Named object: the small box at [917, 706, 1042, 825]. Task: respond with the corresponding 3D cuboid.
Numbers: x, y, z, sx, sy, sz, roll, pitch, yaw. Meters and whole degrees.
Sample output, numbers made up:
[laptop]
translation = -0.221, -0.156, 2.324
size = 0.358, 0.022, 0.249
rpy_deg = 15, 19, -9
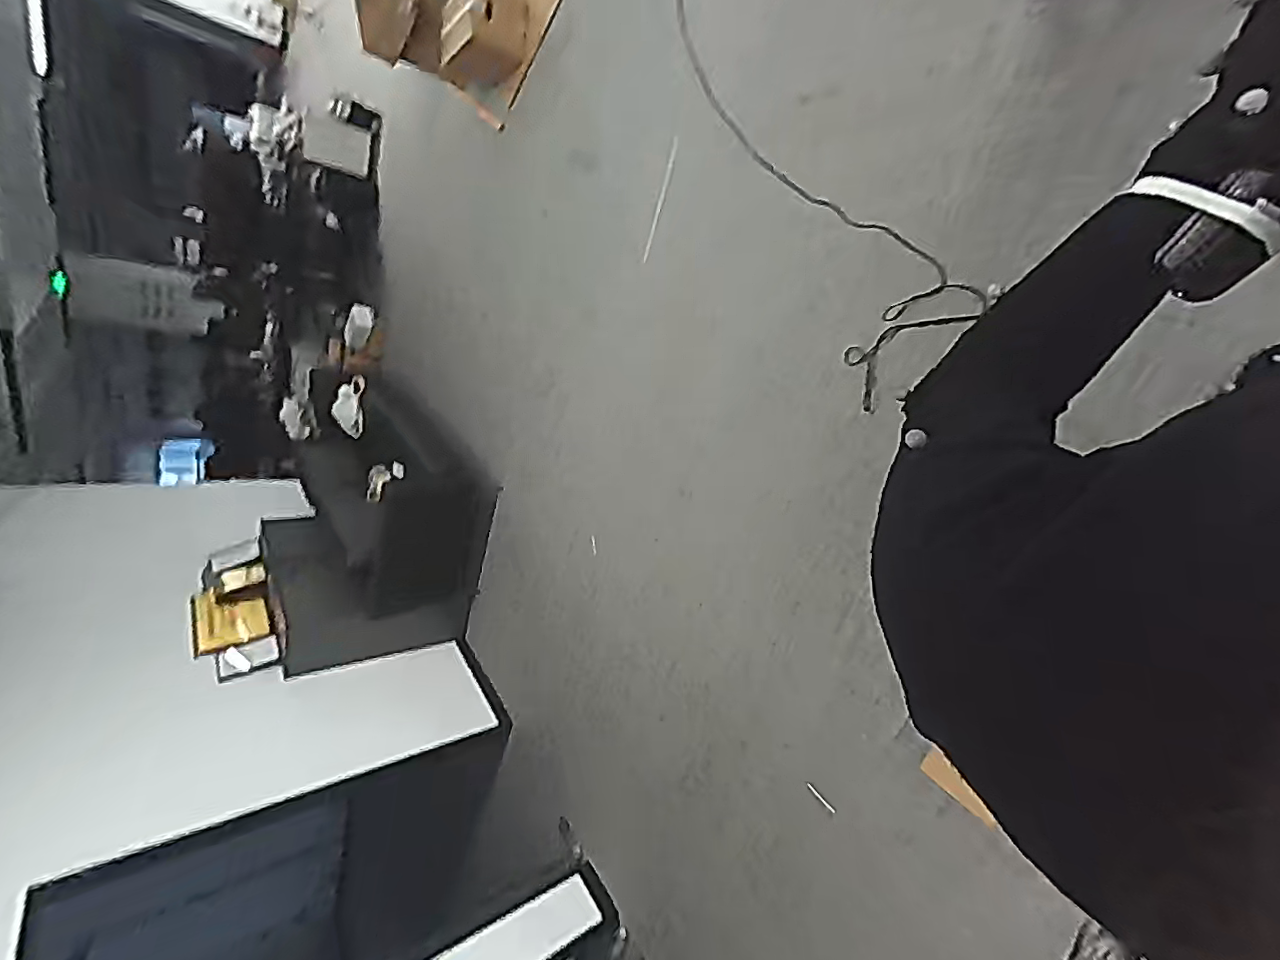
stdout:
[small box]
translation = 0.822, 0.677, 1.309
size = 0.179, 0.176, 0.168
rpy_deg = 37, 119, 43
